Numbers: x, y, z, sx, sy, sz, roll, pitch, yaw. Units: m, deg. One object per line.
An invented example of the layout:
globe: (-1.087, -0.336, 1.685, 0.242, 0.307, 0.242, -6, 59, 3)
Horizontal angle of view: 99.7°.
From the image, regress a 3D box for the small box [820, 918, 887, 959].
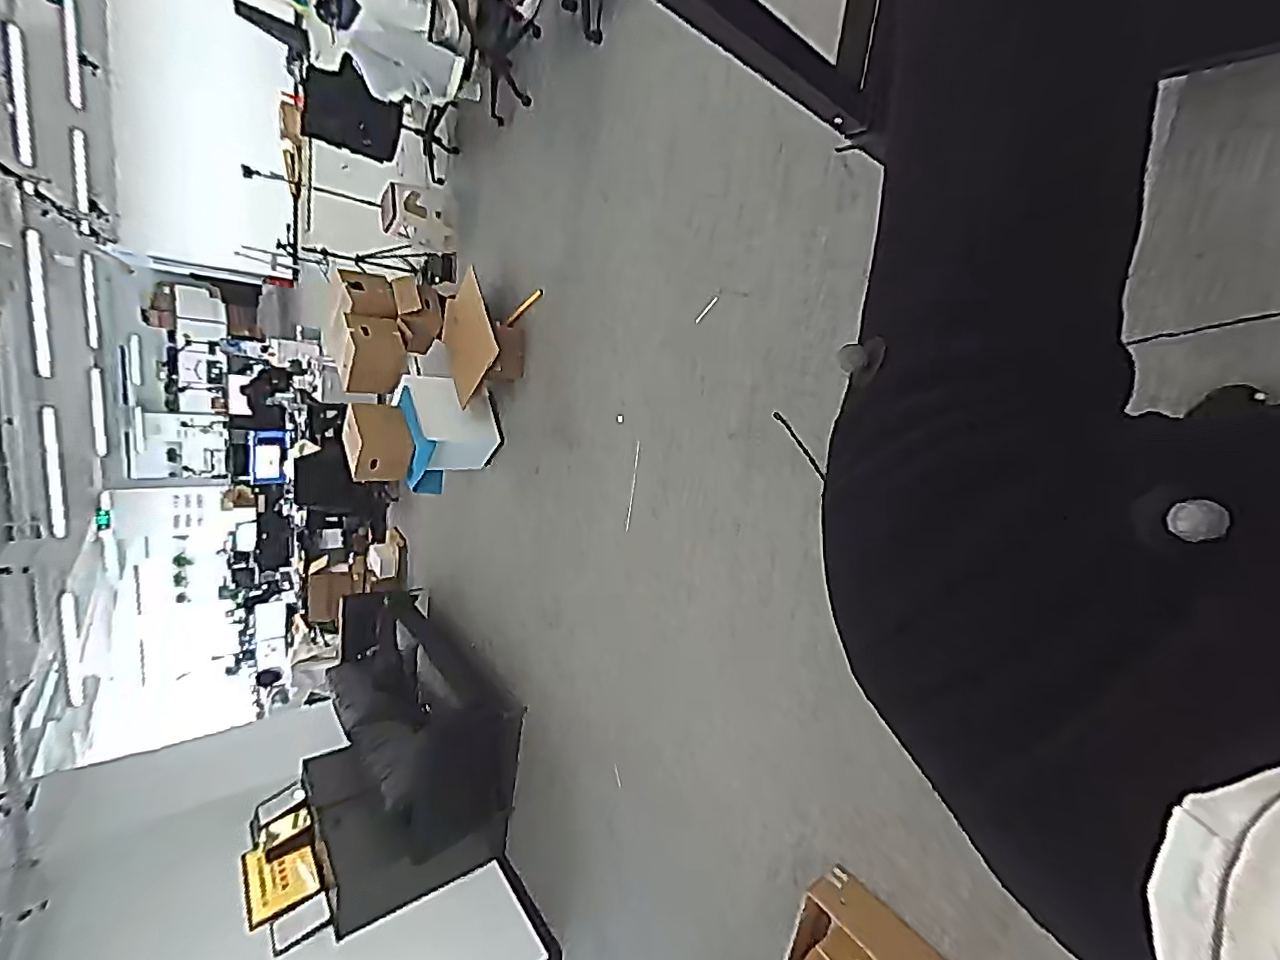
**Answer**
small box: (0.672, 1.572, 1.731, 0.168, 0.176, 0.179, 26, 111, 47)

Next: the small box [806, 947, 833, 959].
small box: (0.543, 1.579, 1.627, 0.168, 0.176, 0.179, 27, 112, 46)
